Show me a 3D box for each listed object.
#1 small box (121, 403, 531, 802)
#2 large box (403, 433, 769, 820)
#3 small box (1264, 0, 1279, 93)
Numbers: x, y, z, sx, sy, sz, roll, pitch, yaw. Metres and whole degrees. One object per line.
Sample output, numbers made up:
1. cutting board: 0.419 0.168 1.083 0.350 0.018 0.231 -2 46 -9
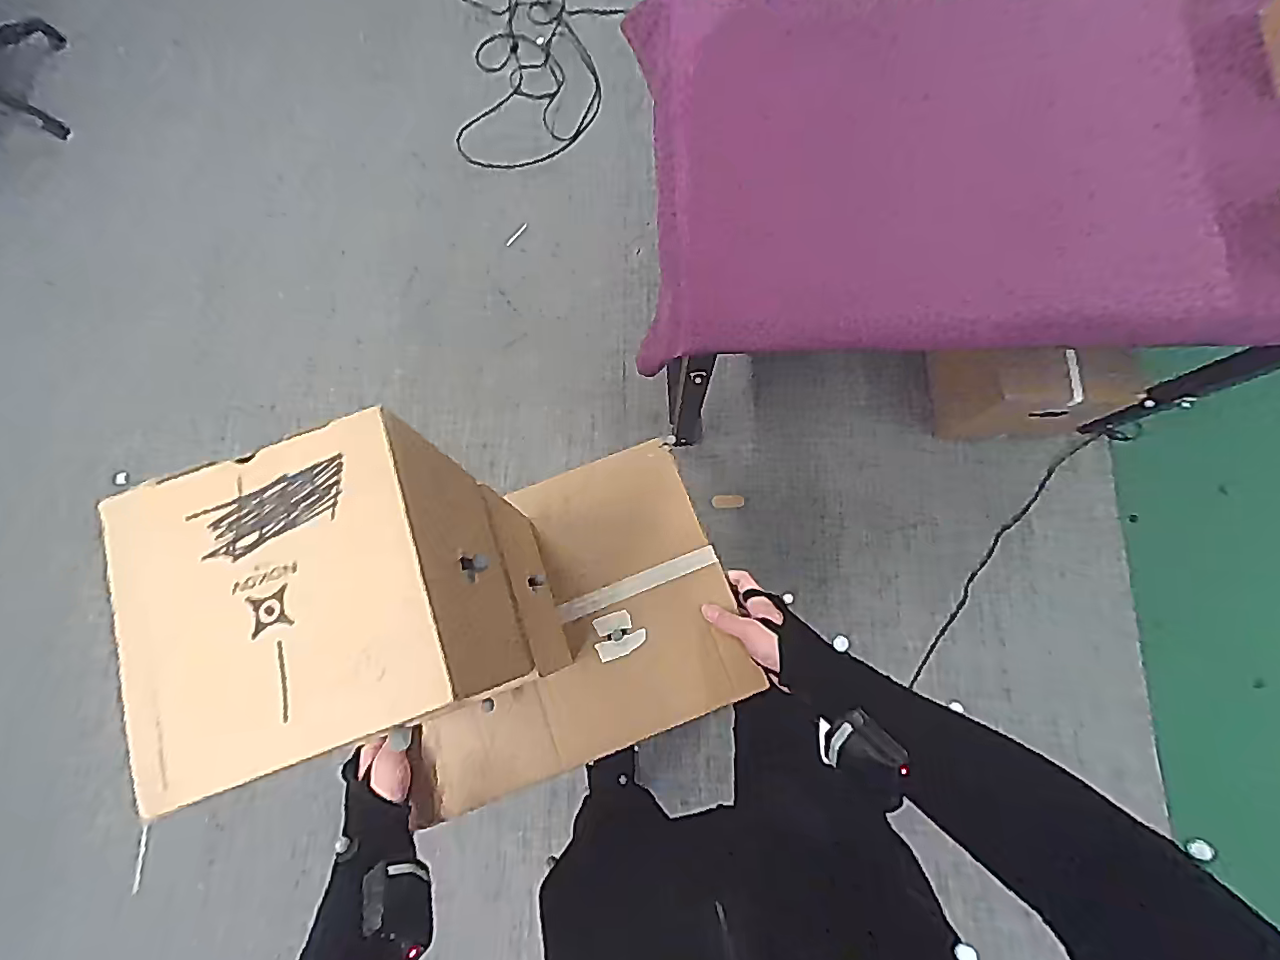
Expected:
1. small box: -0.191 0.078 0.372 0.168 0.176 0.179 -21 76 -3
2. large box: -0.090 0.189 0.762 0.408 0.320 0.320 -22 76 -4
3. small box: 1.080 -0.691 0.782 0.168 0.176 0.179 1 80 4
